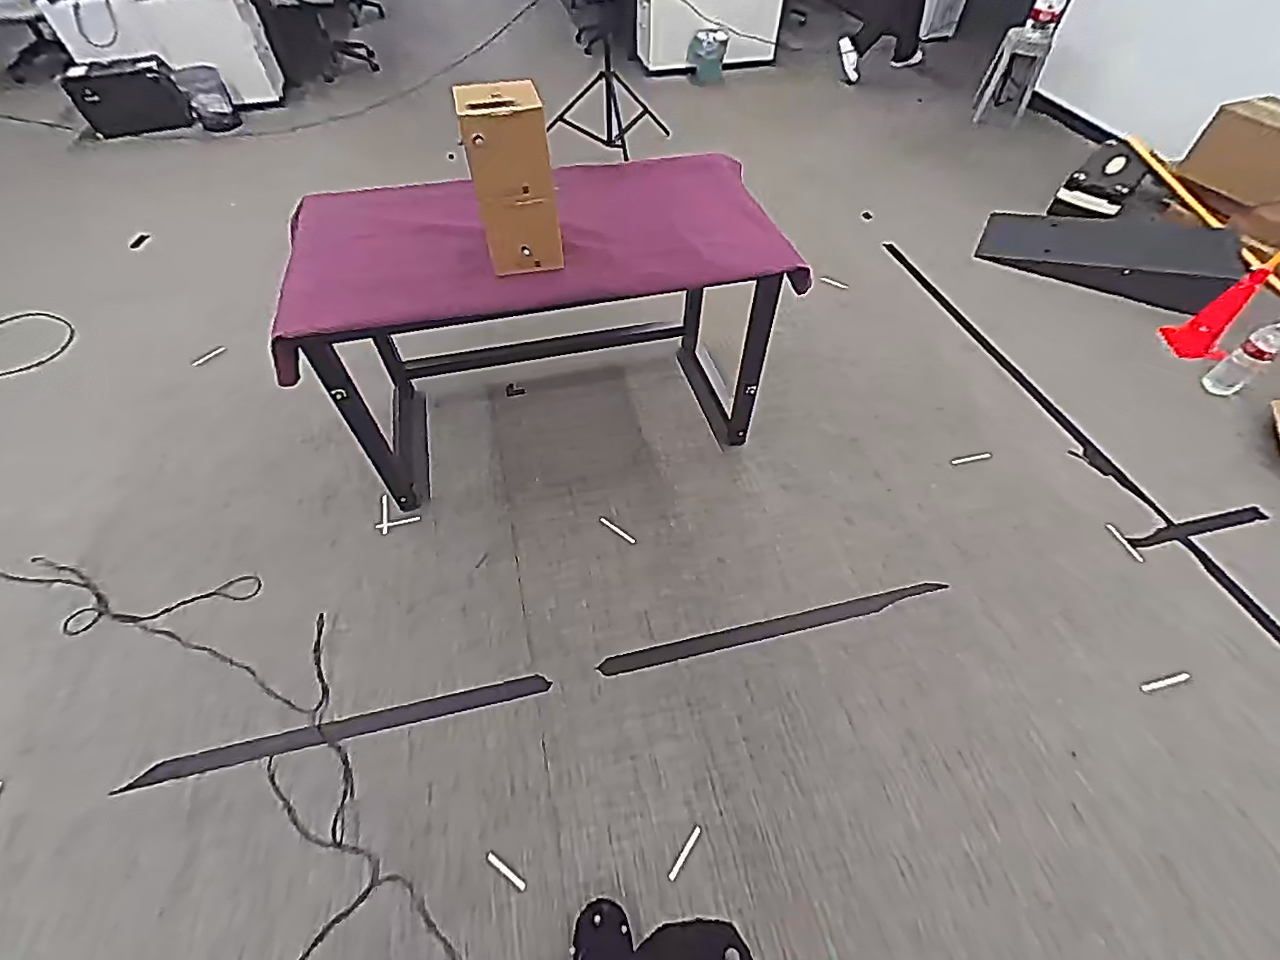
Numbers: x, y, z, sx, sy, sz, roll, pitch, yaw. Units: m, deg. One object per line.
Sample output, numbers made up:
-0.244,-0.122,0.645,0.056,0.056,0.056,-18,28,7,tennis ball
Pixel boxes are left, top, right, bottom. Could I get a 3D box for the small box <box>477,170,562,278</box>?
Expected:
-0.283,-0.604,1.278,0.168,0.176,0.179,-10,53,-7,small box
